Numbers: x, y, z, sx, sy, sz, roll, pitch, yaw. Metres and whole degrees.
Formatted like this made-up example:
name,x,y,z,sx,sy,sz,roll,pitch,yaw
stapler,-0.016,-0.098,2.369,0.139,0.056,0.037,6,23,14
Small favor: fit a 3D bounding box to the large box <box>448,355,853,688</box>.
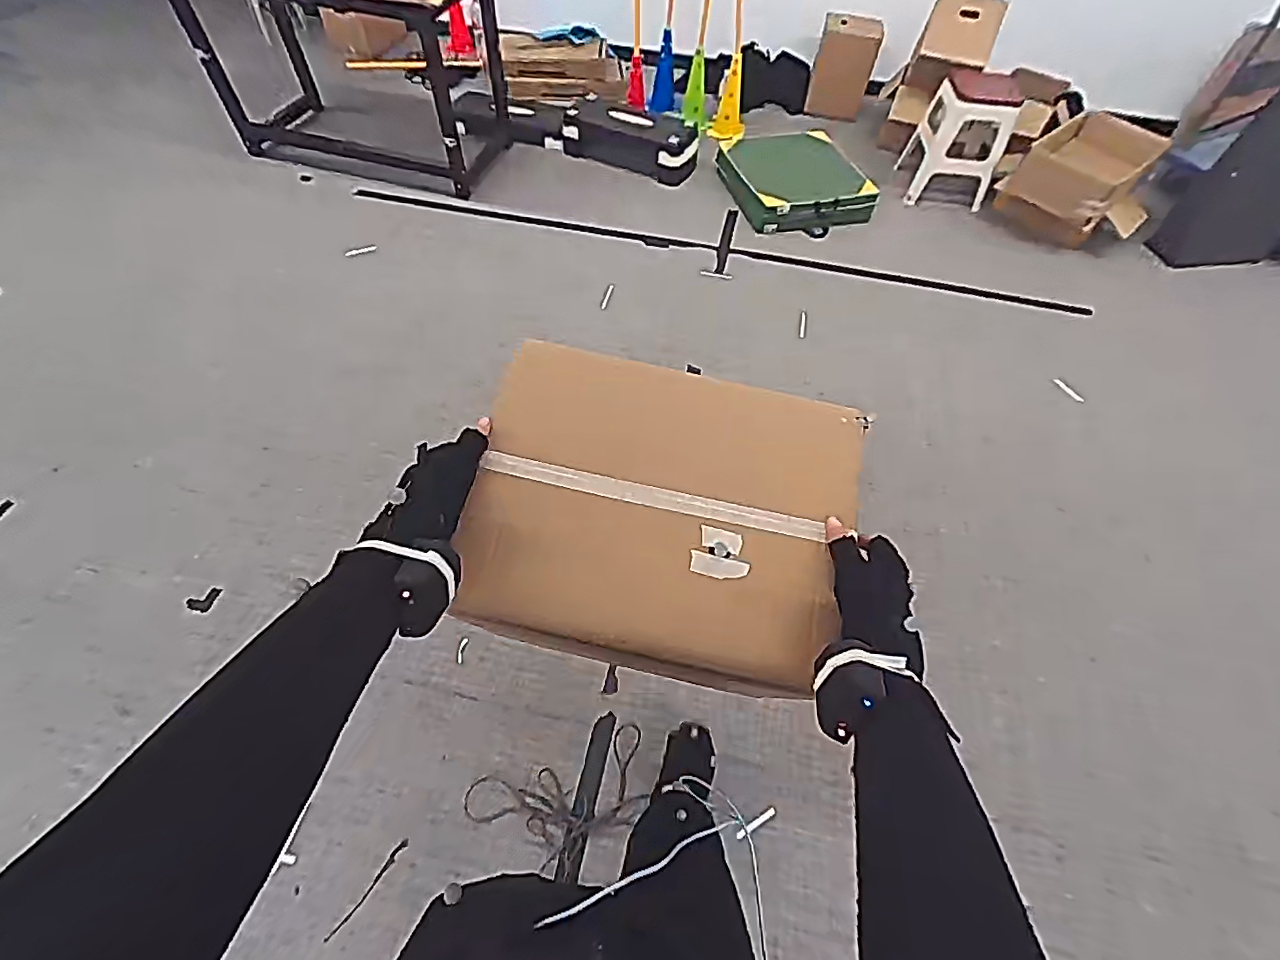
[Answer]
name,x,y,z,sx,sy,sz,roll,pitch,yaw
large box,0.018,0.080,0.726,0.408,0.320,0.320,13,70,1
